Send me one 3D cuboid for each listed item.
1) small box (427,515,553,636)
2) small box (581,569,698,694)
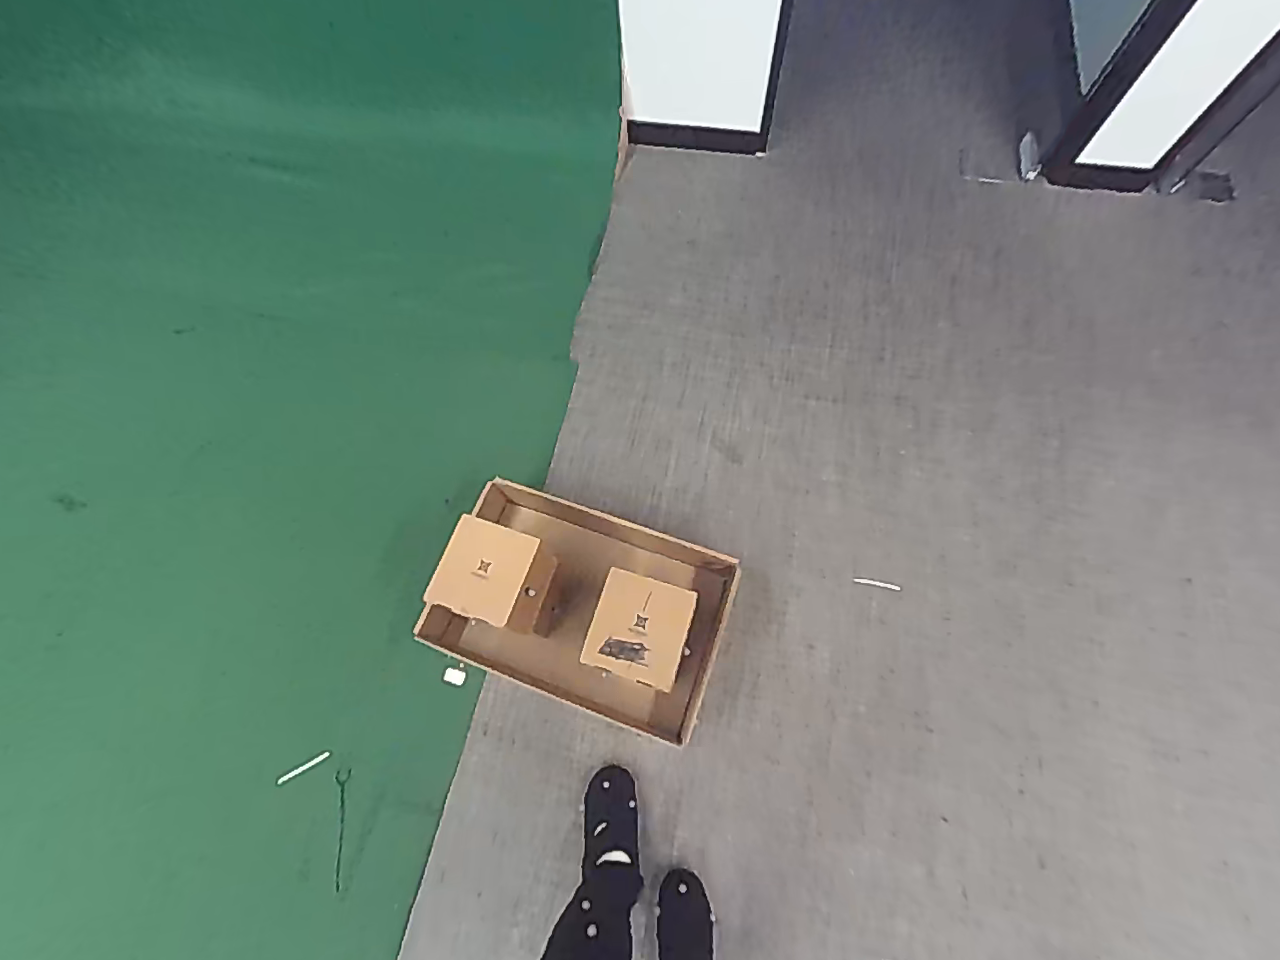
[{"bbox_3d":[-0.282,0.195,1.069,0.168,0.176,0.179,18,72,9],"label":"small box"},{"bbox_3d":[0.006,0.289,1.015,0.168,0.176,0.179,16,70,9],"label":"small box"}]
